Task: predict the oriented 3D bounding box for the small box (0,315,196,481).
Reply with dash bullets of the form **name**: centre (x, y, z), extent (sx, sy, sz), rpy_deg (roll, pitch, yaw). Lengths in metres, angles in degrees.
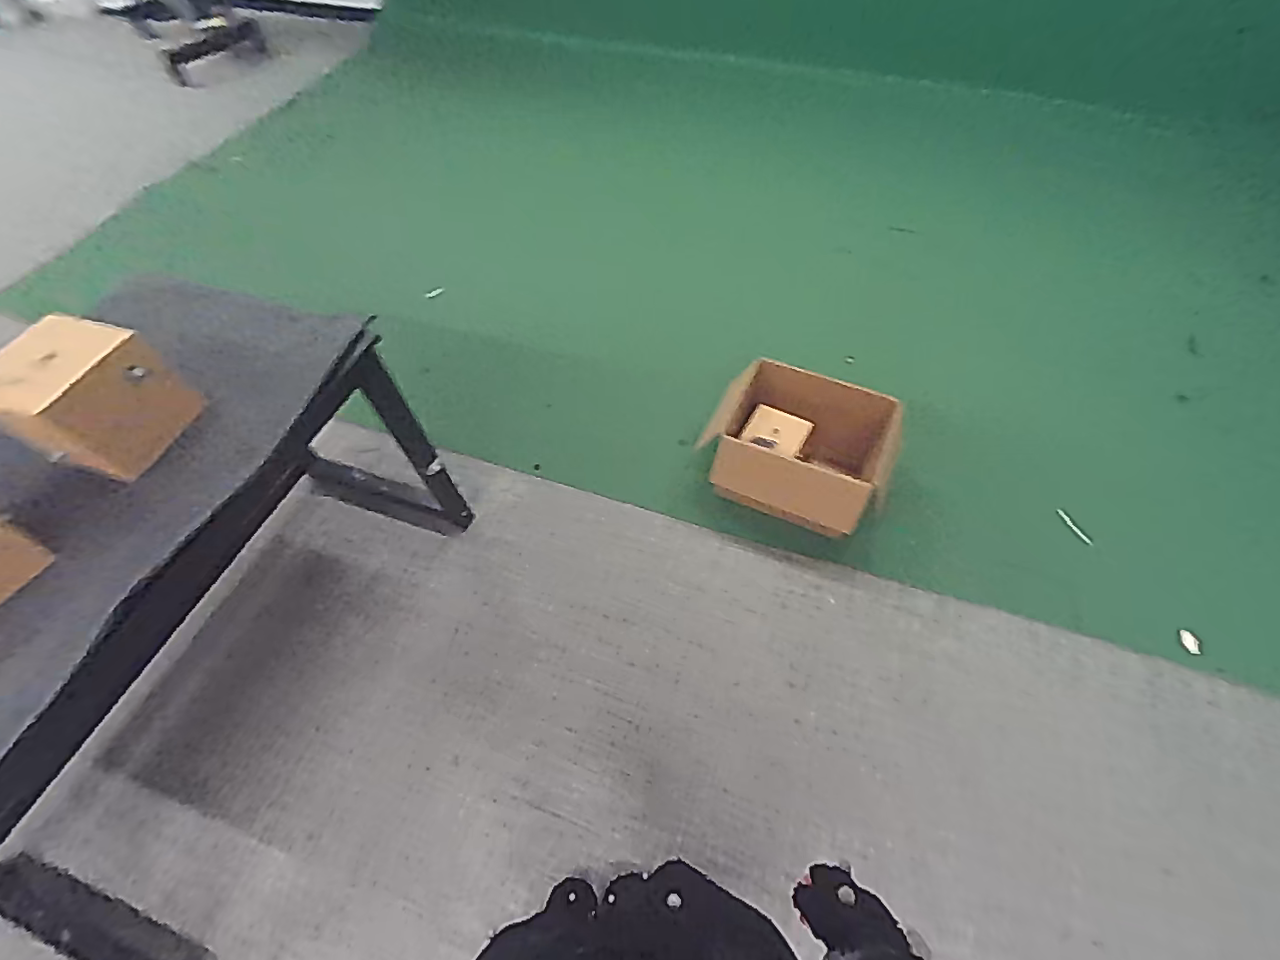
- **small box**: centre (-0.865, -0.127, 0.857), extent (0.168, 0.176, 0.179), rpy_deg (14, 59, 10)
